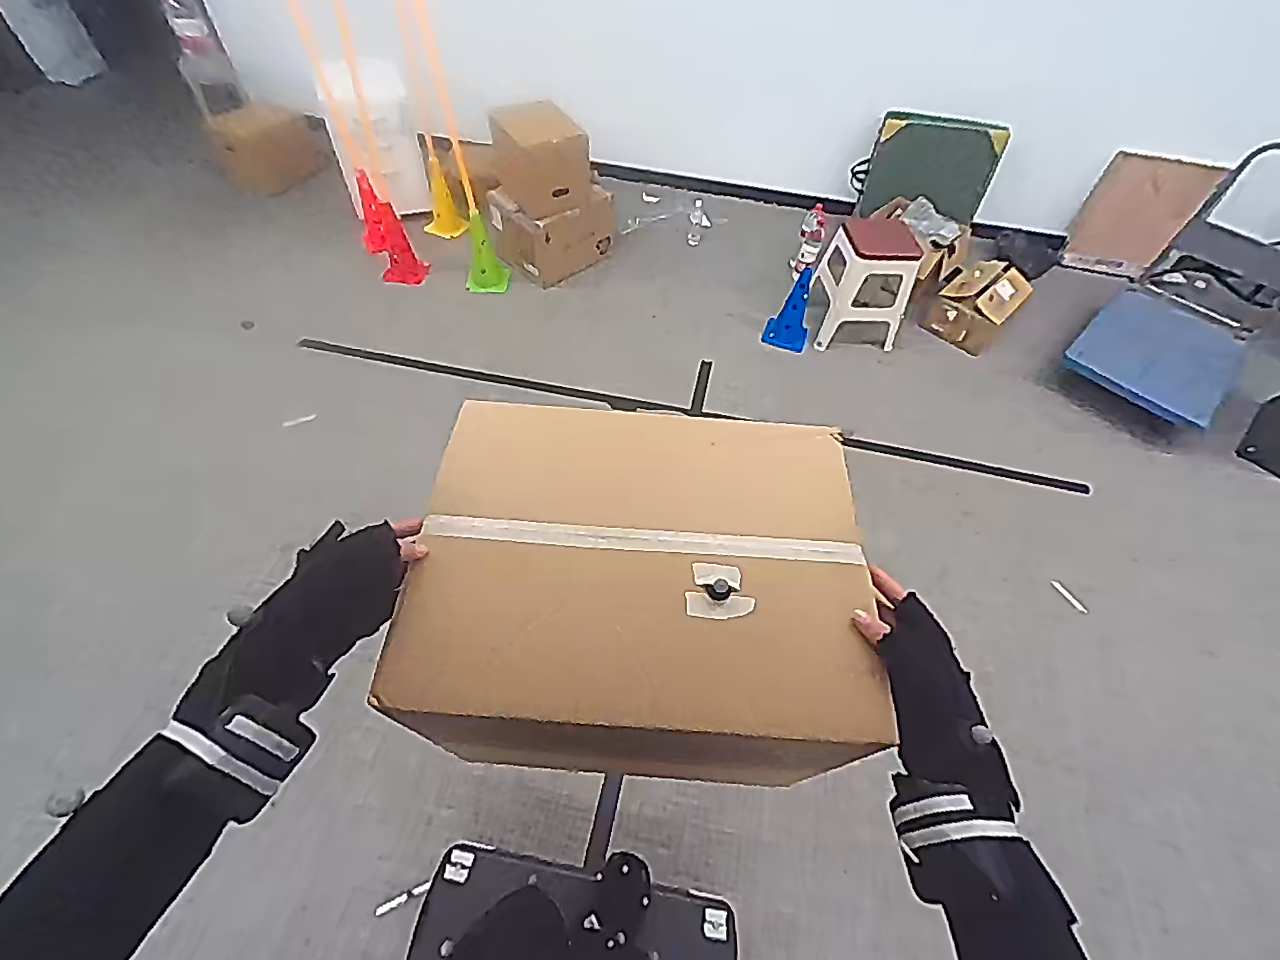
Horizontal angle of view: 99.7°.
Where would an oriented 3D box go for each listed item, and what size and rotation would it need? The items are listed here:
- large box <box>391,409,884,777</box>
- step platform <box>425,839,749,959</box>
[{"bbox_3d":[-0.003,0.145,0.633,0.408,0.320,0.320,5,56,0],"label":"large box"},{"bbox_3d":[-0.108,1.016,1.181,0.684,0.204,0.286,11,54,2],"label":"step platform"}]
